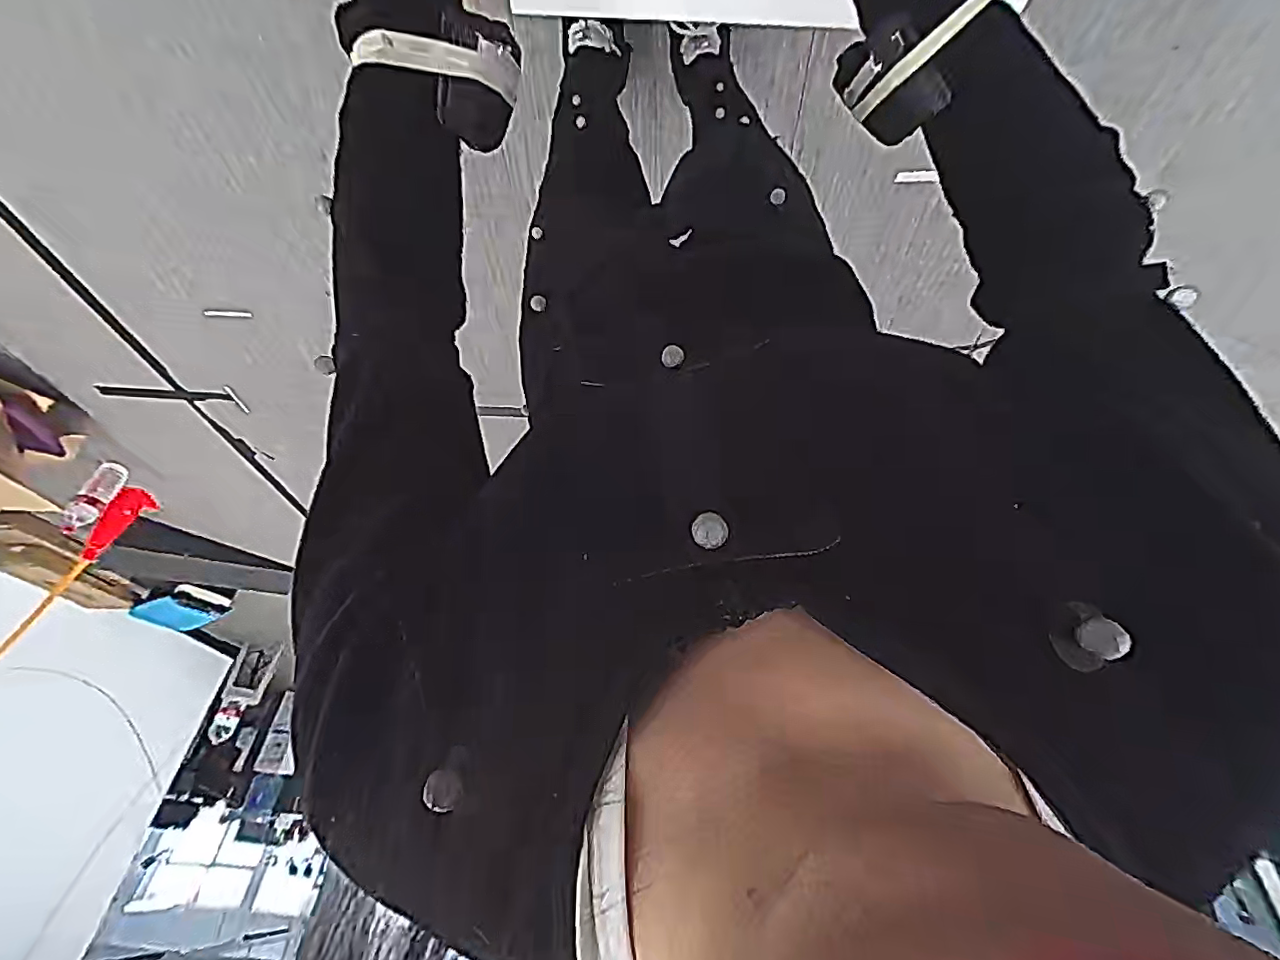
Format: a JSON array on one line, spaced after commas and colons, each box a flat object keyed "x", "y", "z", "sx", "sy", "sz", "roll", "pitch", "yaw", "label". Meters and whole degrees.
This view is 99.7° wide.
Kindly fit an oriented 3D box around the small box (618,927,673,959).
[{"x": 0.015, "y": 1.494, "z": 1.662, "sx": 0.168, "sy": 0.176, "sz": 0.179, "roll": 3, "pitch": 147, "yaw": 3, "label": "small box"}]

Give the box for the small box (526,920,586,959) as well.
[{"x": -0.260, "y": 1.482, "z": 1.676, "sx": 0.168, "sy": 0.176, "sz": 0.179, "roll": 2, "pitch": 146, "yaw": 1, "label": "small box"}]
